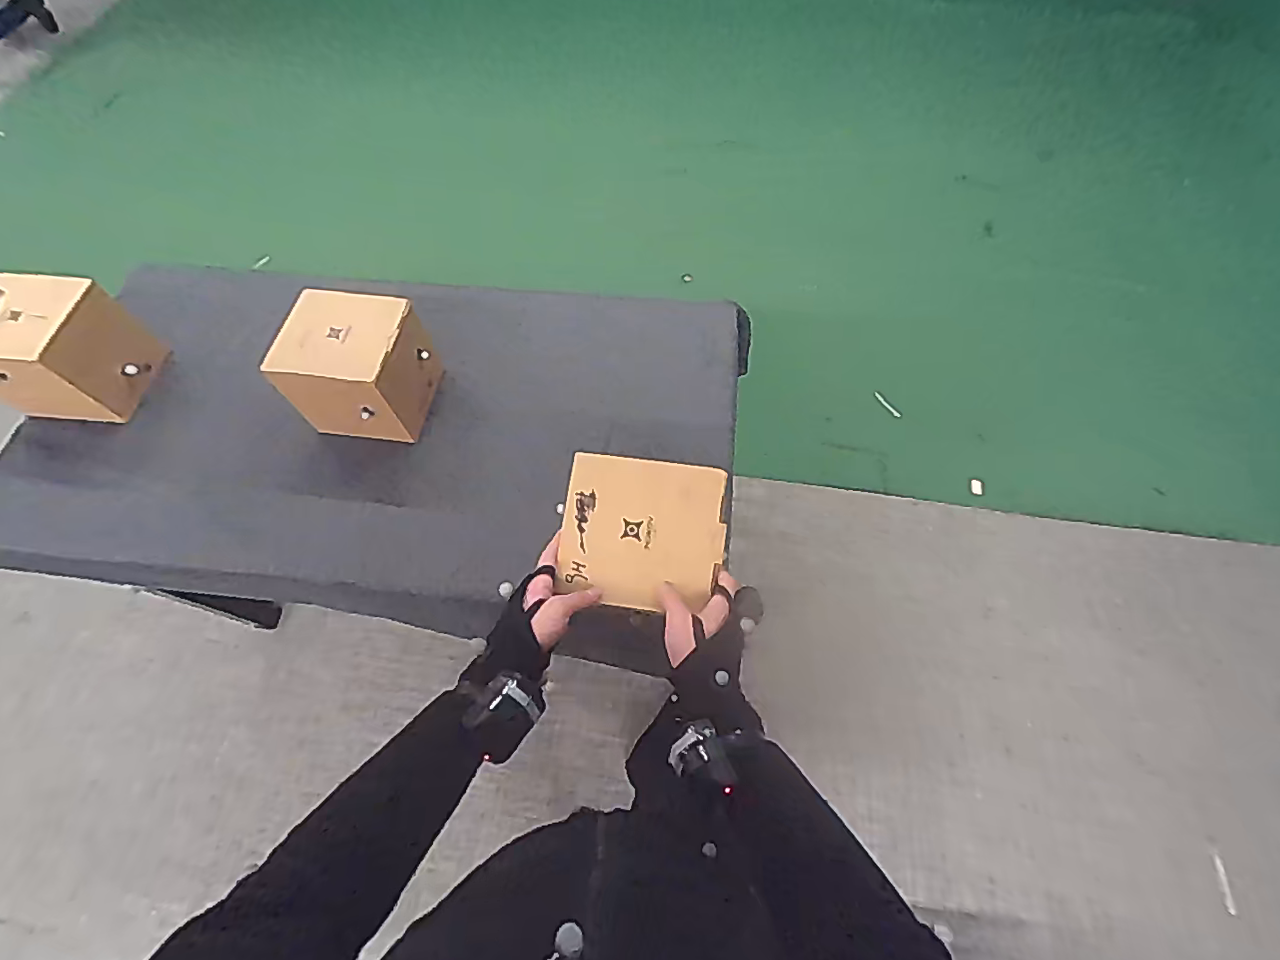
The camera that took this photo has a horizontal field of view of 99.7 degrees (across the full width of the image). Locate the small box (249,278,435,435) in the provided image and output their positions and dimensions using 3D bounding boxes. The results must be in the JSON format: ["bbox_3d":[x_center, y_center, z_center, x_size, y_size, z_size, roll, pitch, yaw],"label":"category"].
[{"bbox_3d":[-0.445,-0.185,0.847,0.179,0.176,0.168,6,61,2],"label":"small box"}]

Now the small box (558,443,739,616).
[{"bbox_3d":[0.012,0.069,0.657,0.179,0.176,0.168,8,74,2],"label":"small box"}]

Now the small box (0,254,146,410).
[{"bbox_3d":[-0.948,-0.225,0.839,0.179,0.176,0.168,5,63,-2],"label":"small box"}]
